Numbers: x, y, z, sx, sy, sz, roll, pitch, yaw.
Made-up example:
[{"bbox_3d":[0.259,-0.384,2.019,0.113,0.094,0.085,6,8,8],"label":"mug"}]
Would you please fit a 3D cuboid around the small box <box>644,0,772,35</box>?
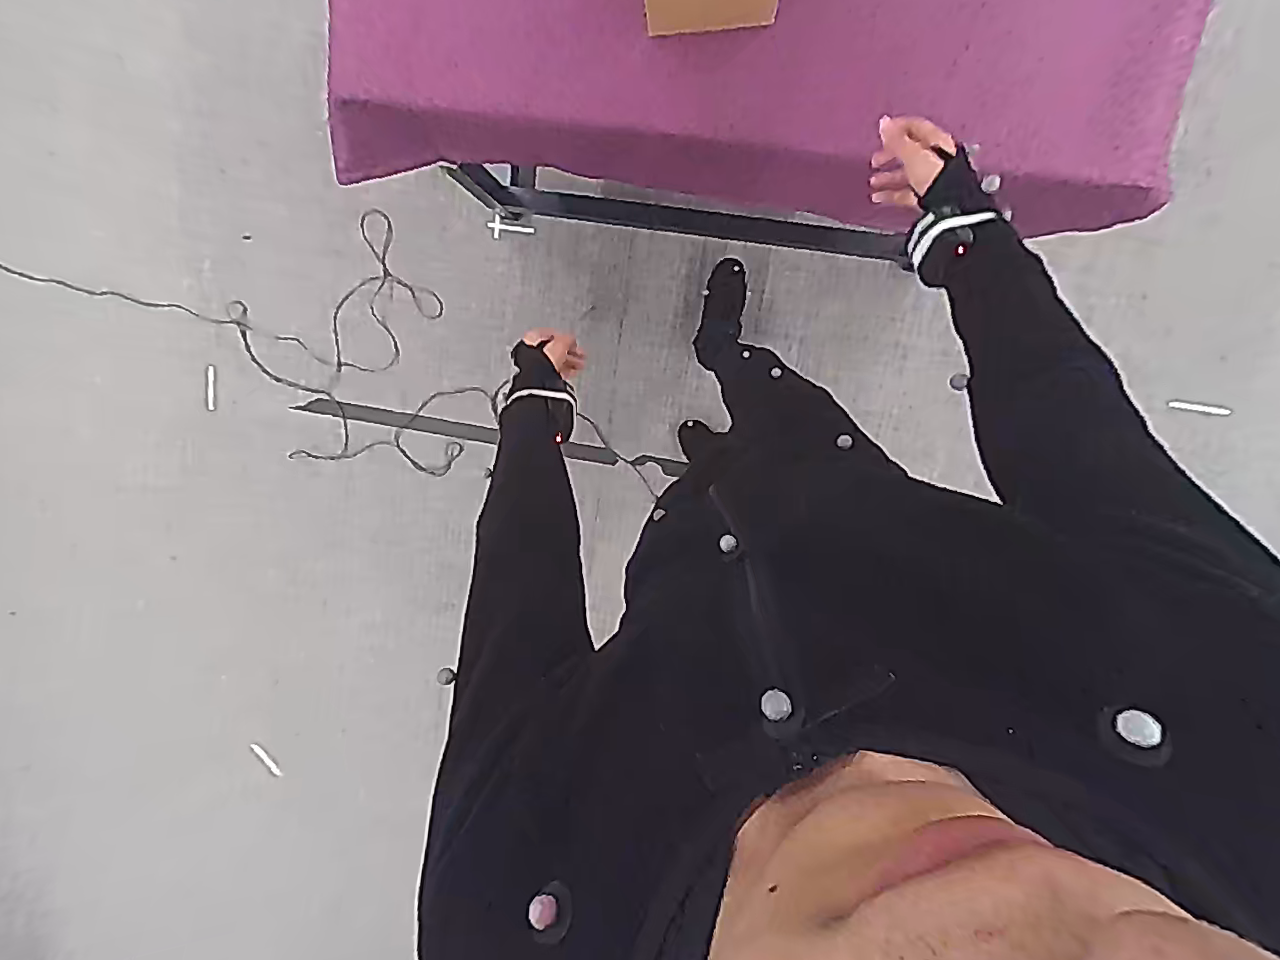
[{"bbox_3d":[0.087,-0.697,0.673,0.179,0.176,0.168,-2,101,5],"label":"small box"}]
